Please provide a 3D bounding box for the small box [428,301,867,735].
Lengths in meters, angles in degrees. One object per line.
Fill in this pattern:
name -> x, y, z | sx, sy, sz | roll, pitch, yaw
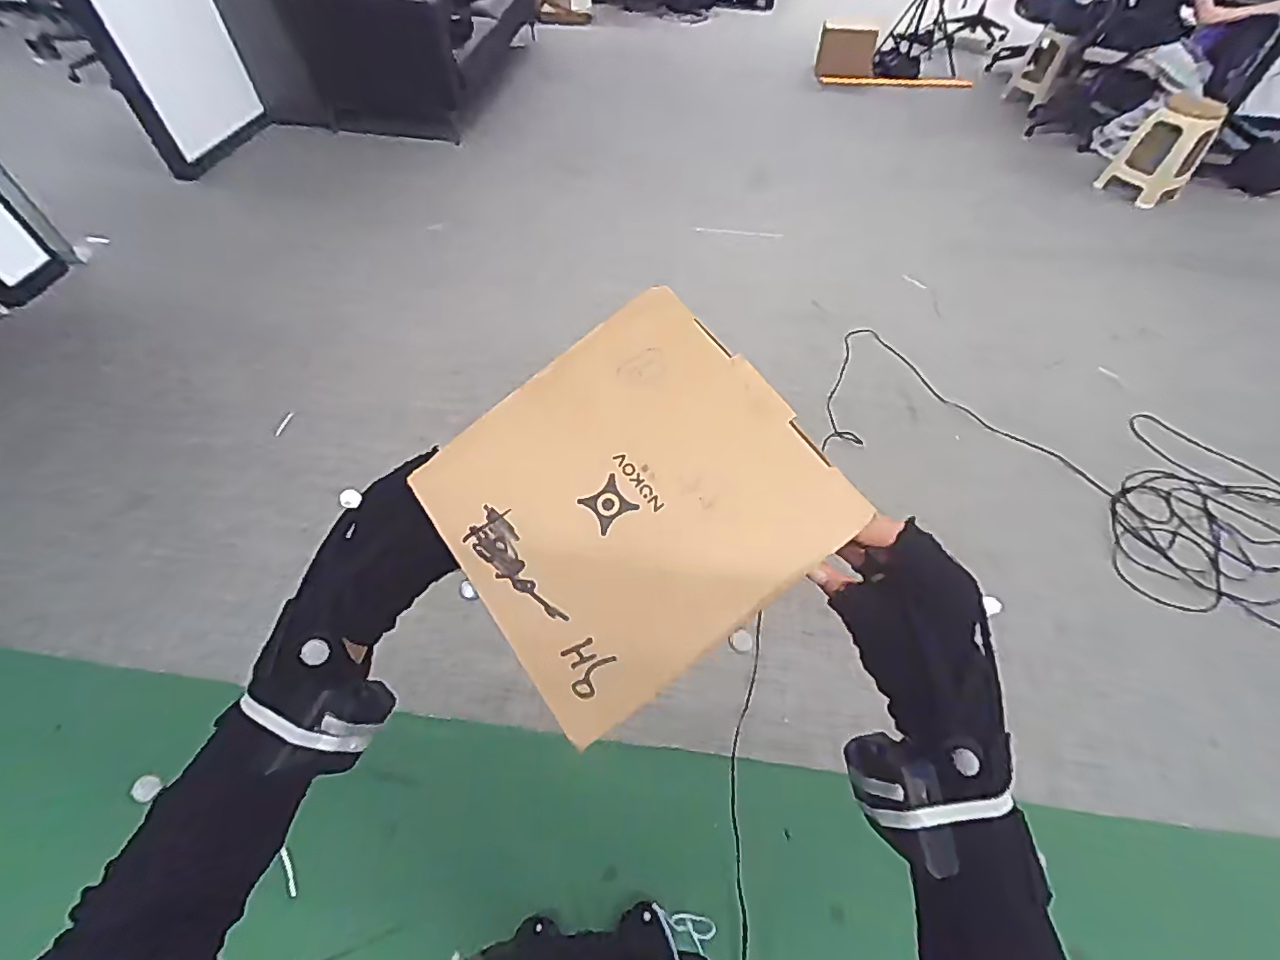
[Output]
small box -> 0.007, 0.029, 0.355 | 0.179, 0.176, 0.168 | -37, 72, -2
